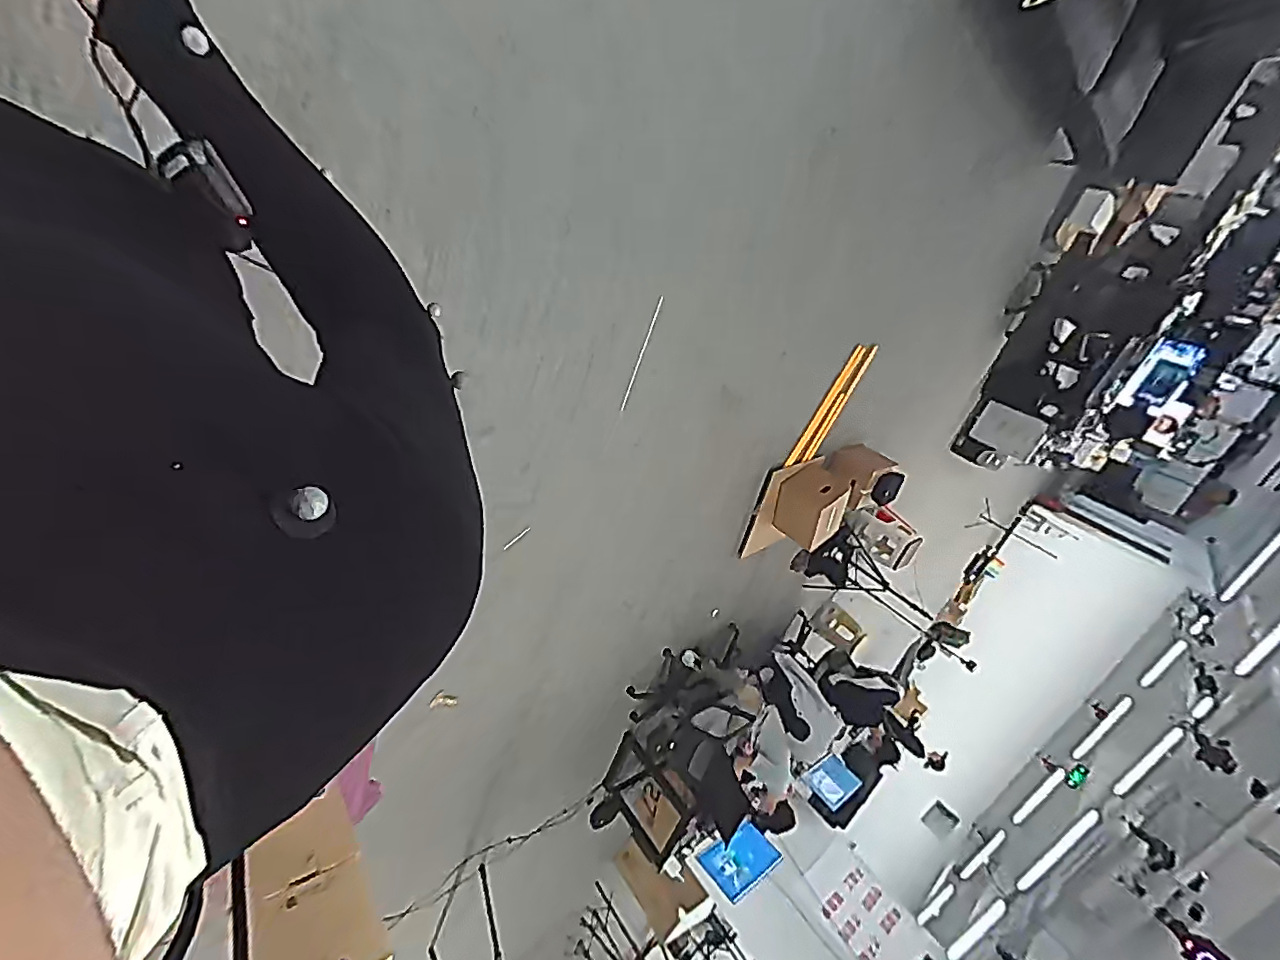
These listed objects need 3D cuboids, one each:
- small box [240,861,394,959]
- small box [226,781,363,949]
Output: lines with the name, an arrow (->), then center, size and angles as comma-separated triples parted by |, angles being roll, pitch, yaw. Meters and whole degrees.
small box -> -0.504, 0.747, 0.837 | 0.168, 0.176, 0.179 | -5, 124, -44
small box -> -0.601, 0.657, 0.934 | 0.168, 0.176, 0.179 | -4, 124, -44
